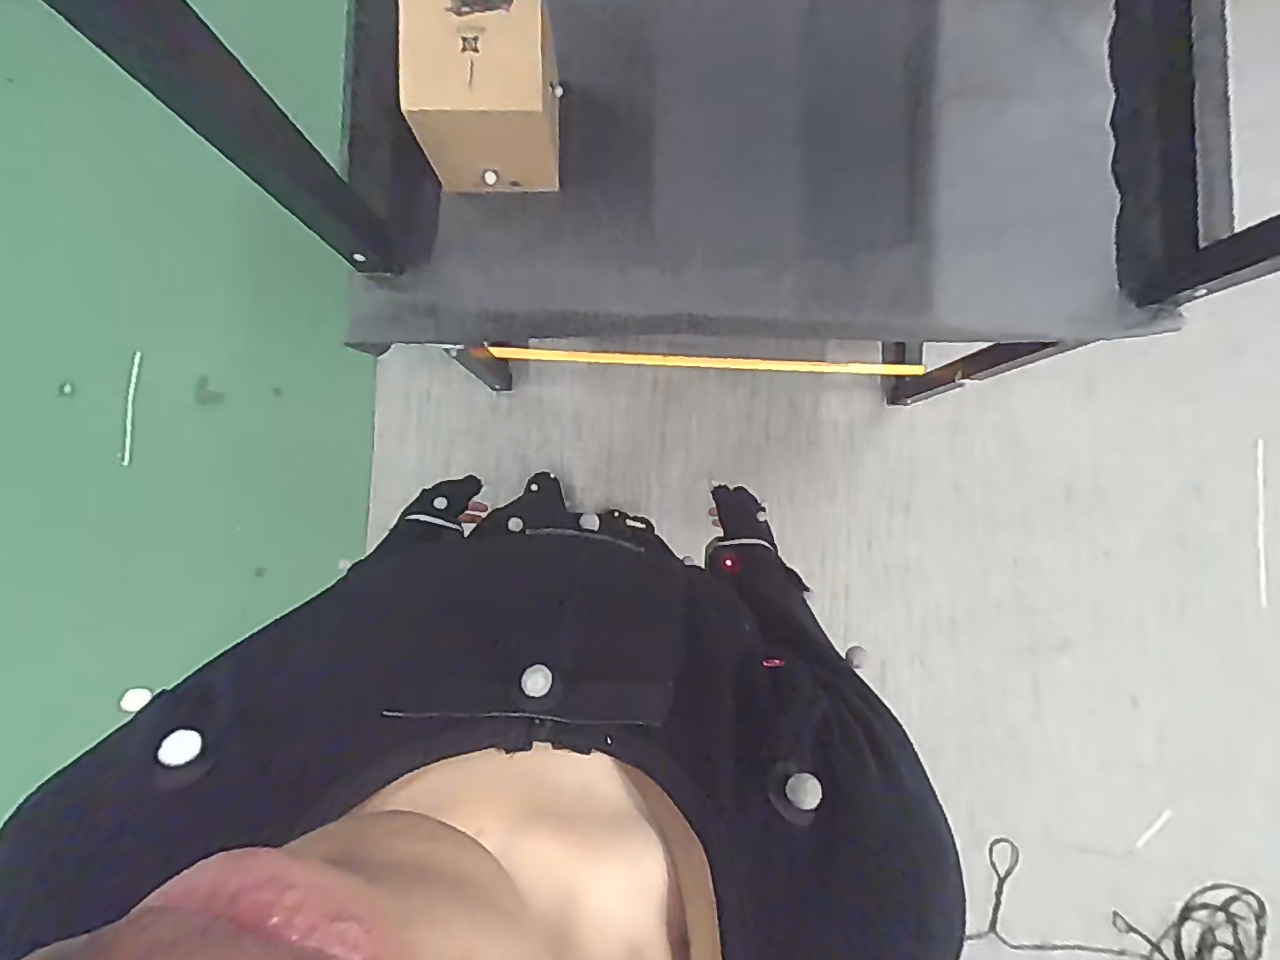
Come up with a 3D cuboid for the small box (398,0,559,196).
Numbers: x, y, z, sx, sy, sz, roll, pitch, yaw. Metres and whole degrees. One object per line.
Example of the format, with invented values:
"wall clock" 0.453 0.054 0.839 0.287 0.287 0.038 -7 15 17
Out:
"small box" -0.199 -0.504 0.705 0.168 0.176 0.179 -1 88 -1
